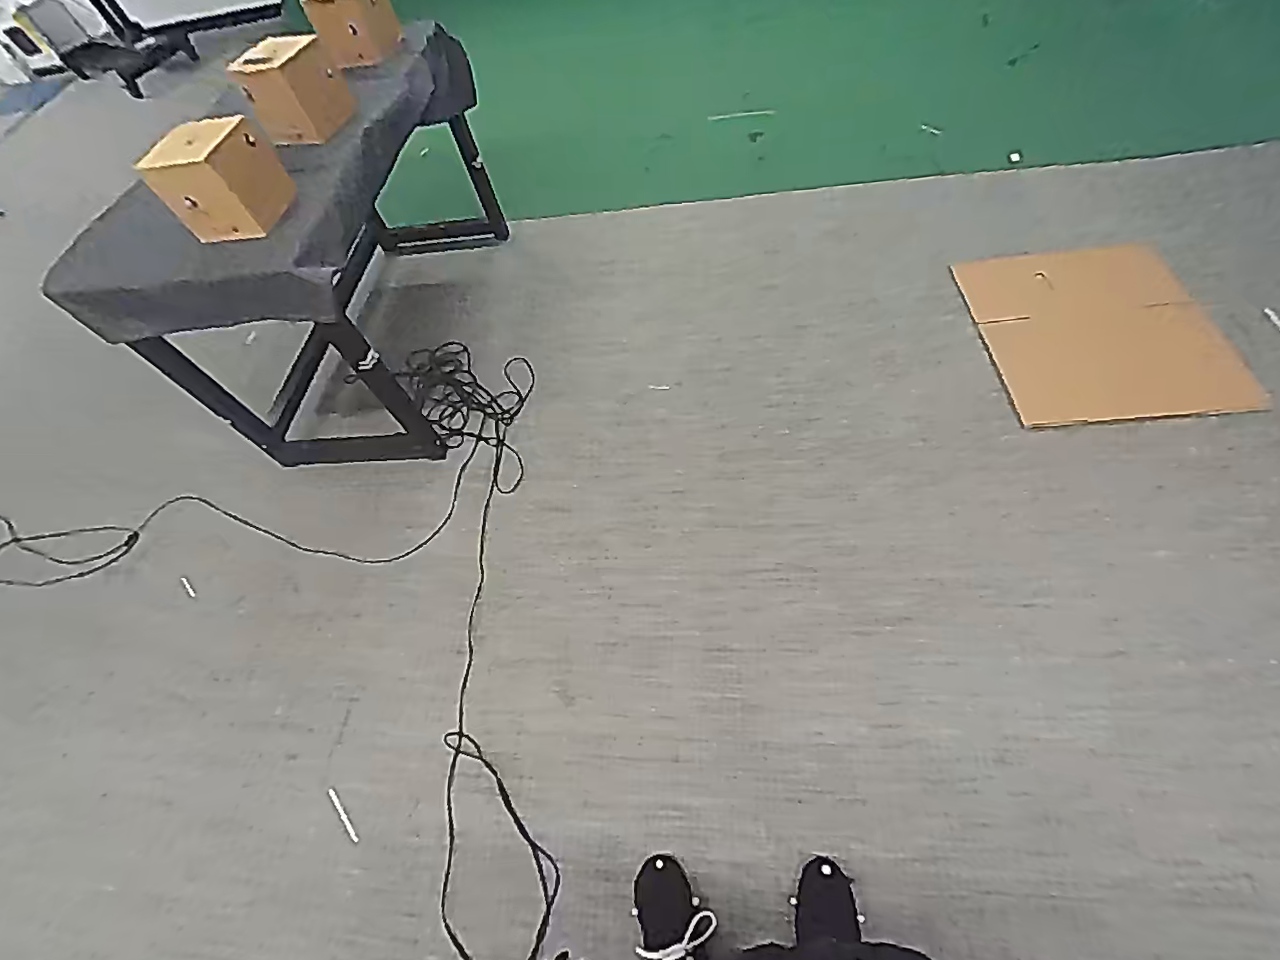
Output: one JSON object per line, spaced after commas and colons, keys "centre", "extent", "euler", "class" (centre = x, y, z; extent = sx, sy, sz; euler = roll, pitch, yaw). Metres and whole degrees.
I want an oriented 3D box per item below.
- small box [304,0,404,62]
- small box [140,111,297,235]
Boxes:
{"centre": [-0.819, -1.345, 1.569], "extent": [0.168, 0.176, 0.179], "euler": [3, 59, 11], "class": "small box"}
{"centre": [-0.880, -0.644, 1.152], "extent": [0.168, 0.176, 0.179], "euler": [-1, 58, 10], "class": "small box"}
